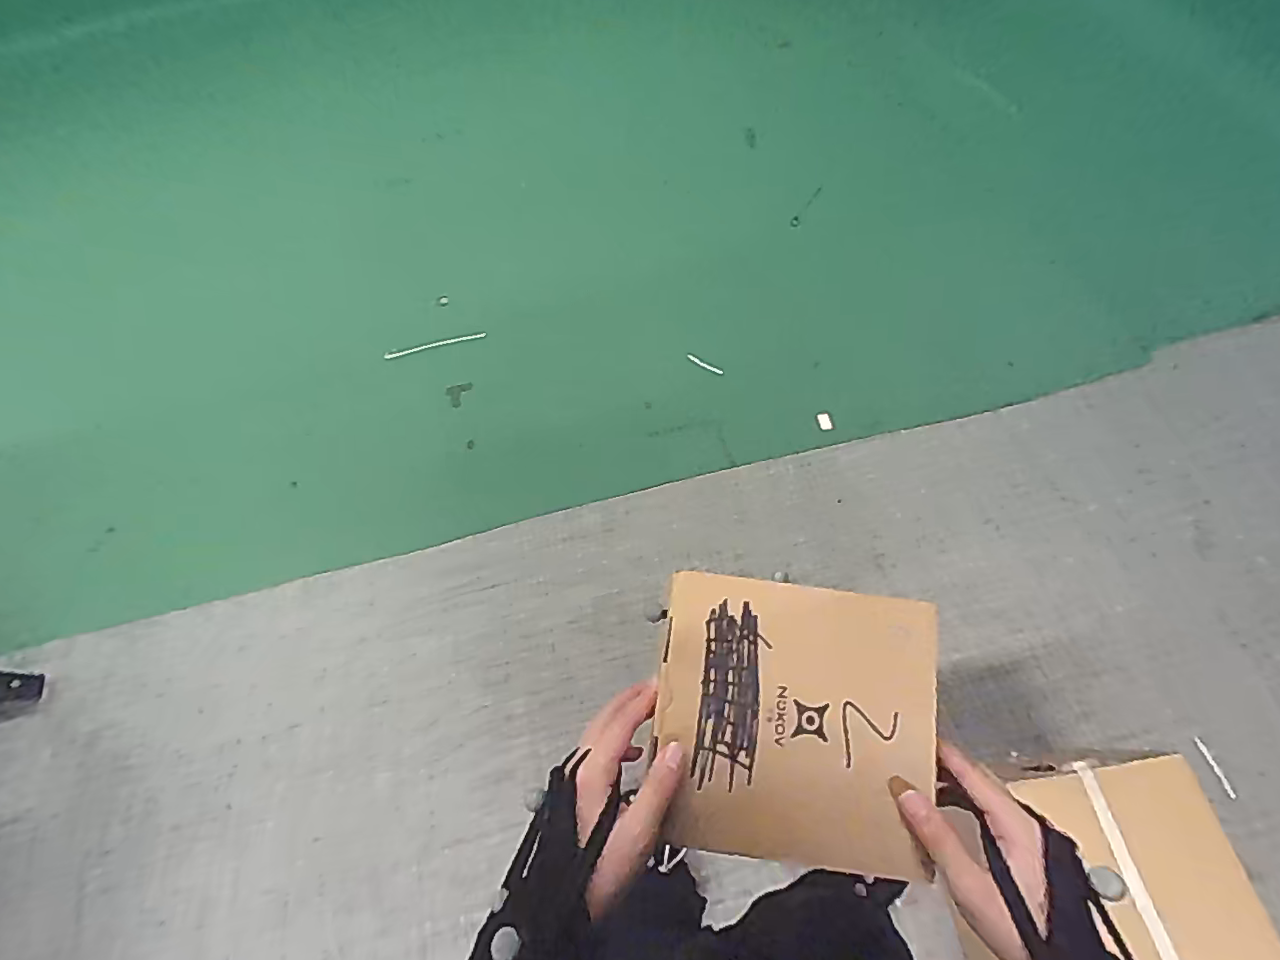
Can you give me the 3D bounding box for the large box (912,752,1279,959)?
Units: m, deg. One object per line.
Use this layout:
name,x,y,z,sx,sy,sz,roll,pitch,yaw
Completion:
large box,0.712,0.689,0.868,0.320,0.320,0.408,-10,65,0
